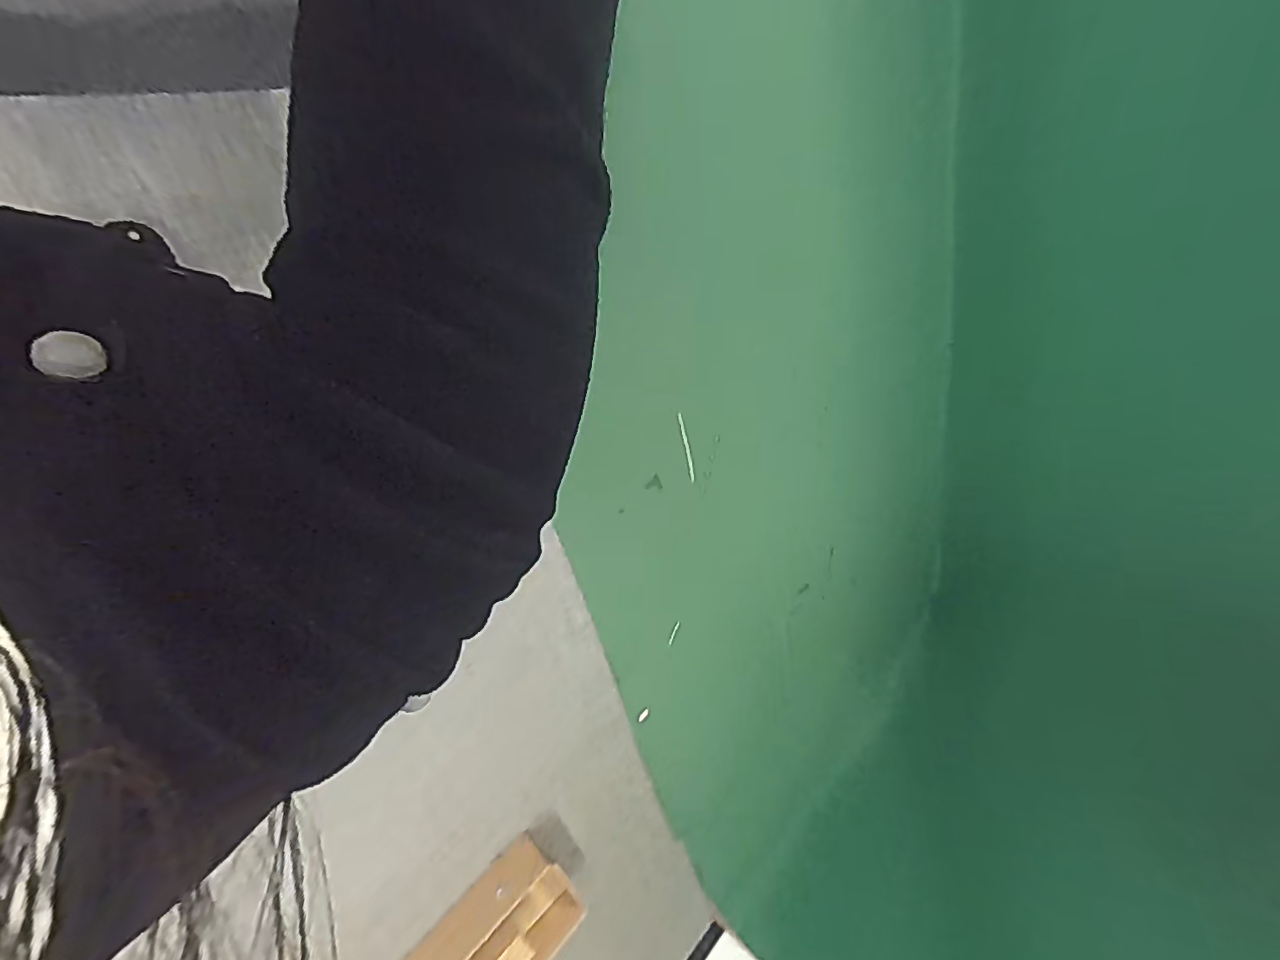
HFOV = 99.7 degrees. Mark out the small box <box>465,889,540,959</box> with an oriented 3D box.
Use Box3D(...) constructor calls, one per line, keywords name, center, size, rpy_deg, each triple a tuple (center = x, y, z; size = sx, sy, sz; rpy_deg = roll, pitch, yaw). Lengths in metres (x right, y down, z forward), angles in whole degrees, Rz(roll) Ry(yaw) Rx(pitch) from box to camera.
Box3D(name="small box", center=(-0.487, 1.597, 1.886), size=(0.179, 0.176, 0.168), rpy_deg=(-38, 126, -31))
